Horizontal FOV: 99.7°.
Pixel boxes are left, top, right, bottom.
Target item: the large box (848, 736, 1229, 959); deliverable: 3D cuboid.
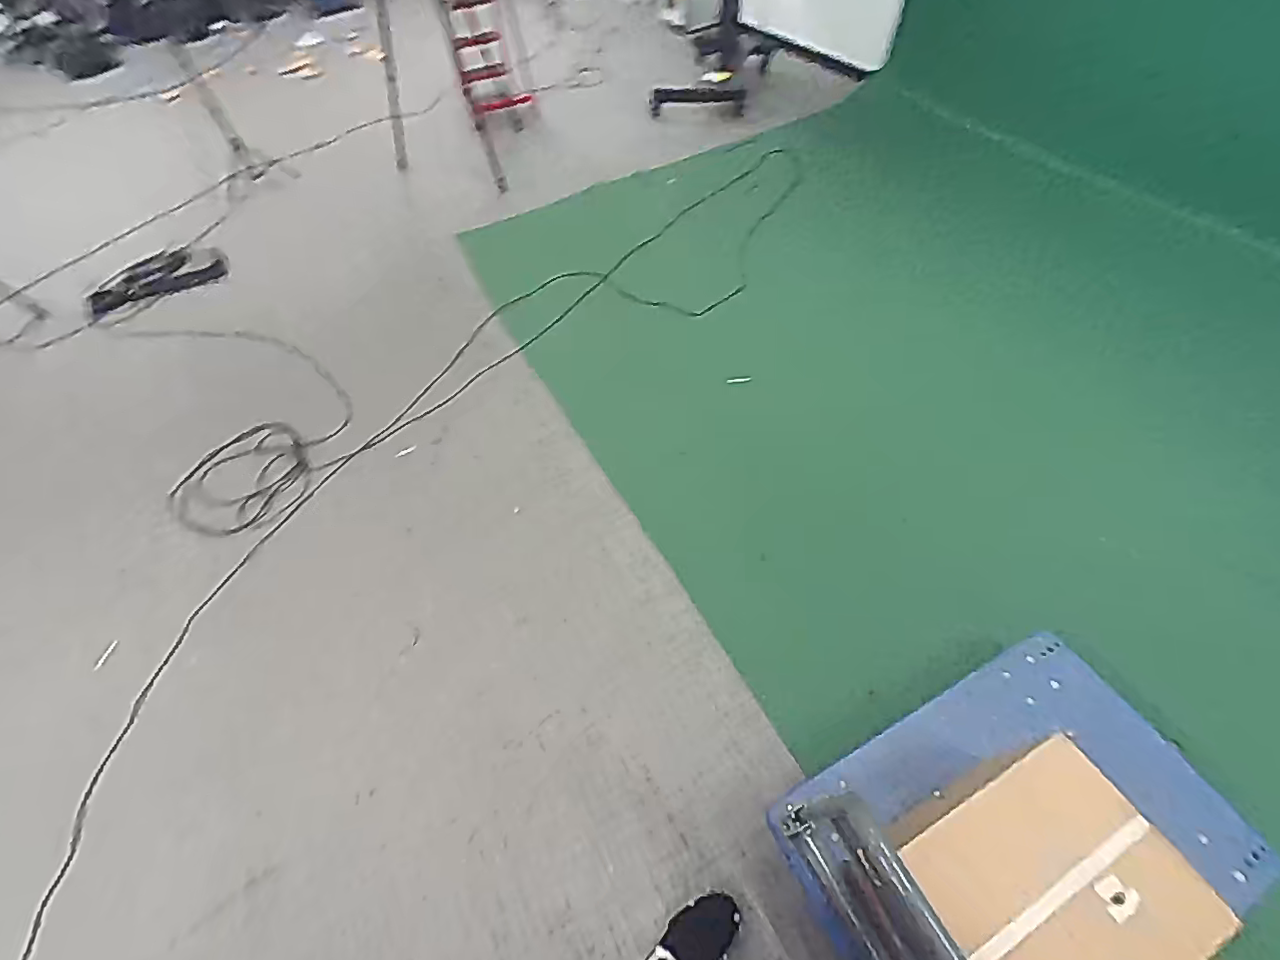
[{"bbox_3d":[0.662,0.740,0.975,0.408,0.320,0.320,-24,57,-14],"label":"large box"}]
